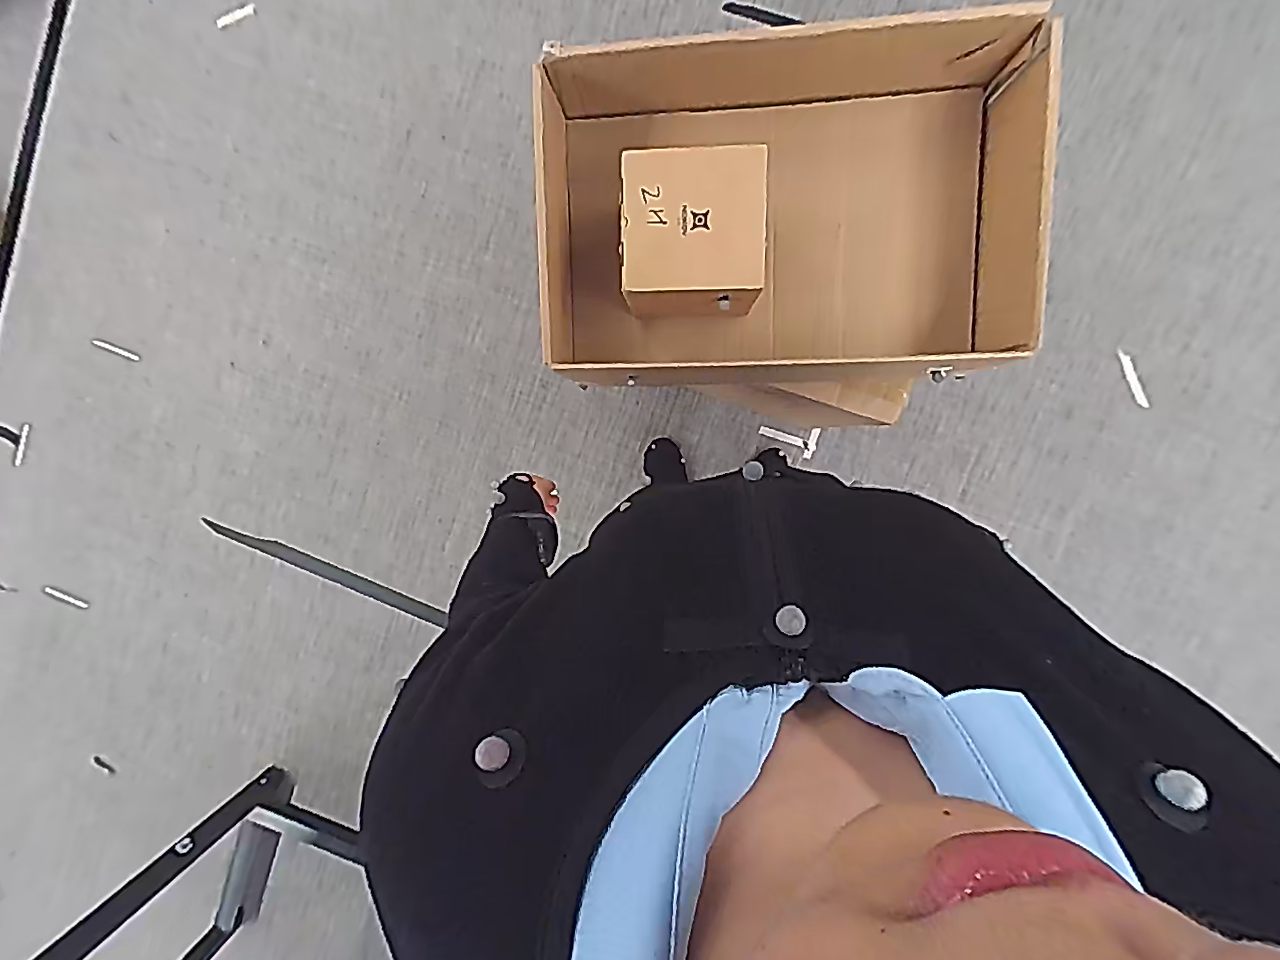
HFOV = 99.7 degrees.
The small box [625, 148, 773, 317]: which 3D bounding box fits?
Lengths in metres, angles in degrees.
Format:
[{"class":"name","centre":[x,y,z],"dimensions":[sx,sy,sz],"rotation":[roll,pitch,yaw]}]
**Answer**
[{"class":"small box","centre":[0.074,-0.320,0.728],"dimensions":[0.179,0.176,0.168],"rotation":[1,96,4]}]
